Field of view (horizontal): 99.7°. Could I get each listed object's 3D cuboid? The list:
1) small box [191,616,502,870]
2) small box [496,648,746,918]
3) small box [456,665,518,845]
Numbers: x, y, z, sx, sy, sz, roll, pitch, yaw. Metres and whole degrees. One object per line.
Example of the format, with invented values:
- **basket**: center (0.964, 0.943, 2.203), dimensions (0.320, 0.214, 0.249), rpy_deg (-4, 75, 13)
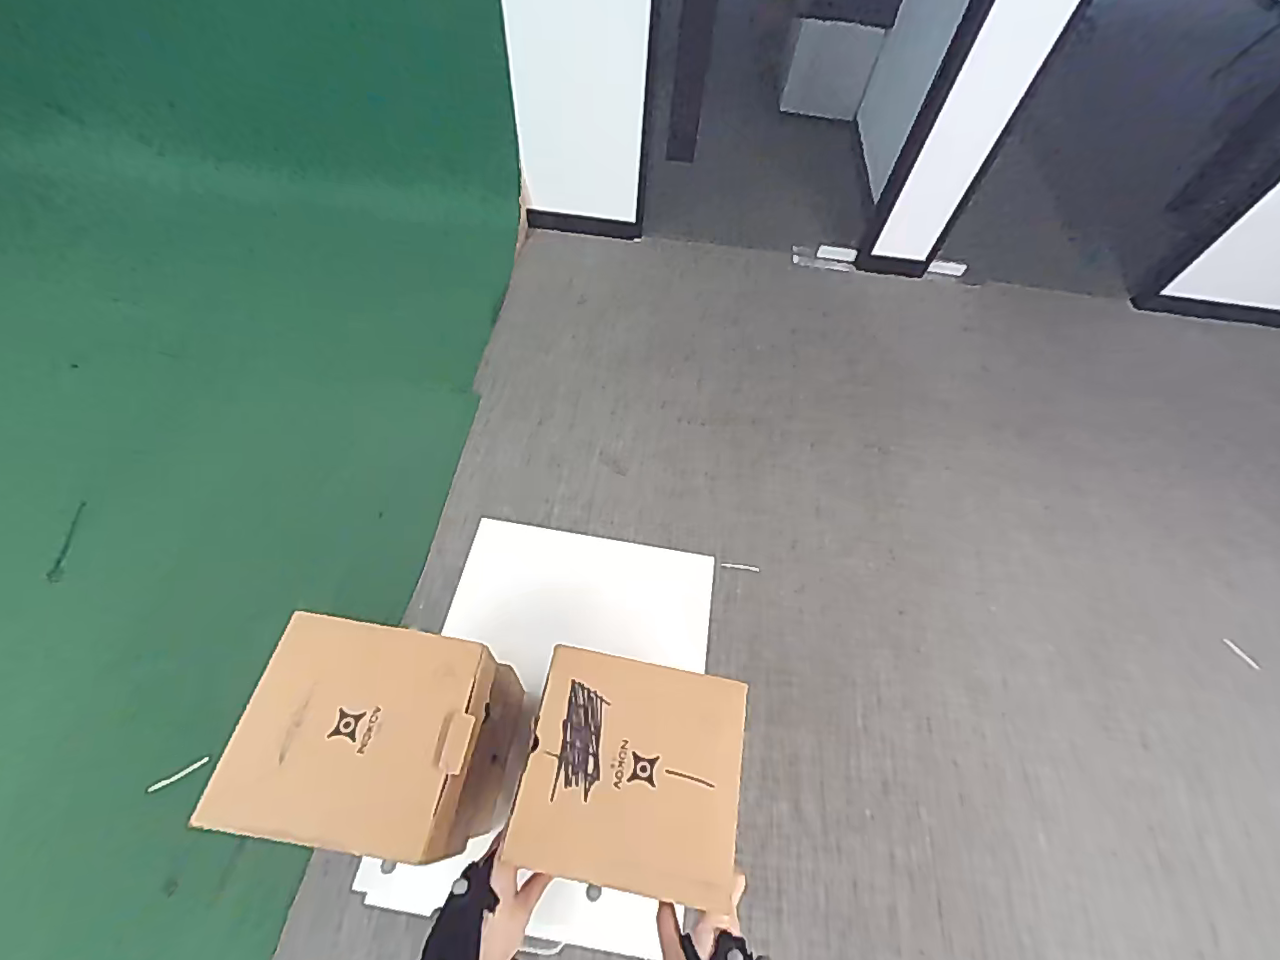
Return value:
- **small box**: center (-0.239, 0.245, 0.504), dimensions (0.179, 0.176, 0.168), rpy_deg (9, 56, 0)
- **small box**: center (-0.012, 0.276, 0.503), dimensions (0.179, 0.176, 0.168), rpy_deg (12, 57, 3)
- **small box**: center (-0.252, 0.318, 0.649), dimensions (0.168, 0.176, 0.179), rpy_deg (11, 57, -1)
